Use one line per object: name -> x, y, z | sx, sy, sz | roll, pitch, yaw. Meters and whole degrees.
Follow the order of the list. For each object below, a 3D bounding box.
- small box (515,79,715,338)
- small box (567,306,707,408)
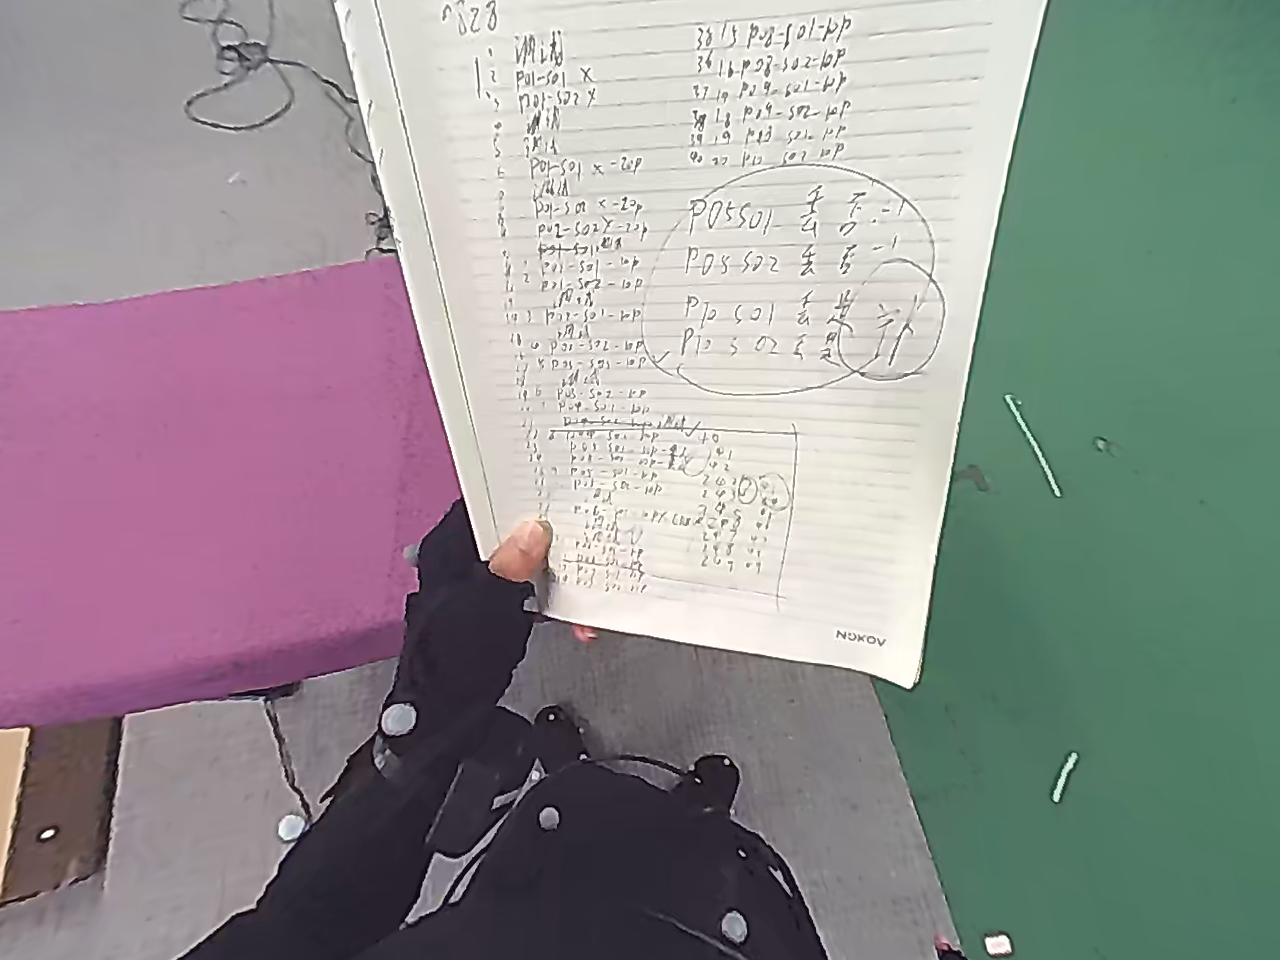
small box -> -0.024, -0.268, 0.569 | 0.168, 0.176, 0.179 | -11, 69, -2
small box -> -0.009, -0.210, 0.722 | 0.168, 0.176, 0.179 | -11, 68, -1
